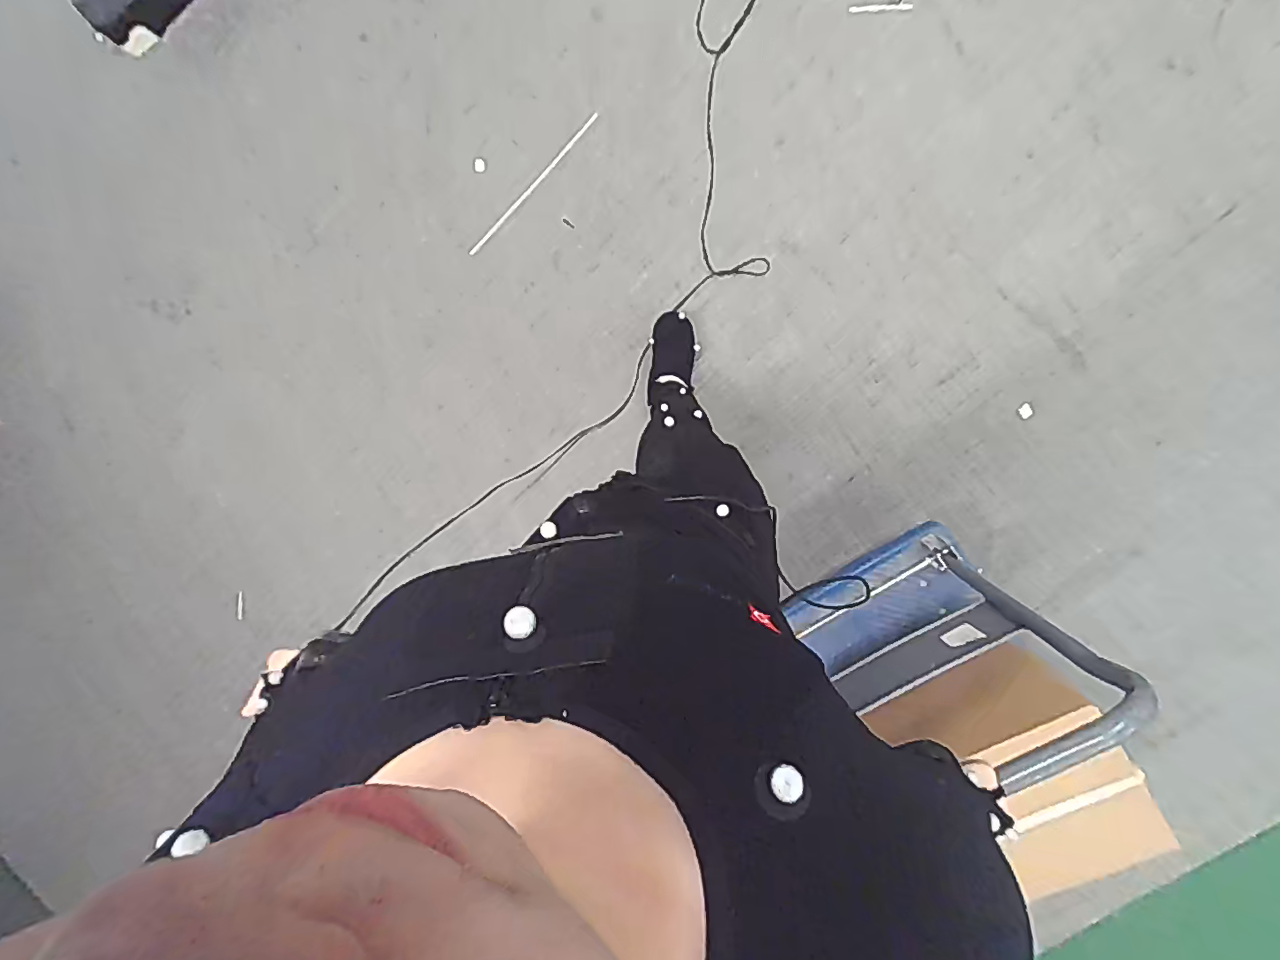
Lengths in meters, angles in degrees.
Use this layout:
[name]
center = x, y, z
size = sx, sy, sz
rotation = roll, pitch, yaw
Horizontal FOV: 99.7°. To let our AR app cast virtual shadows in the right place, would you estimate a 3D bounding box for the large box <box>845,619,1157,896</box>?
[large box]
center = 0.725, 0.568, 1.161
size = 0.408, 0.320, 0.320
rotation = -32, 92, 12
